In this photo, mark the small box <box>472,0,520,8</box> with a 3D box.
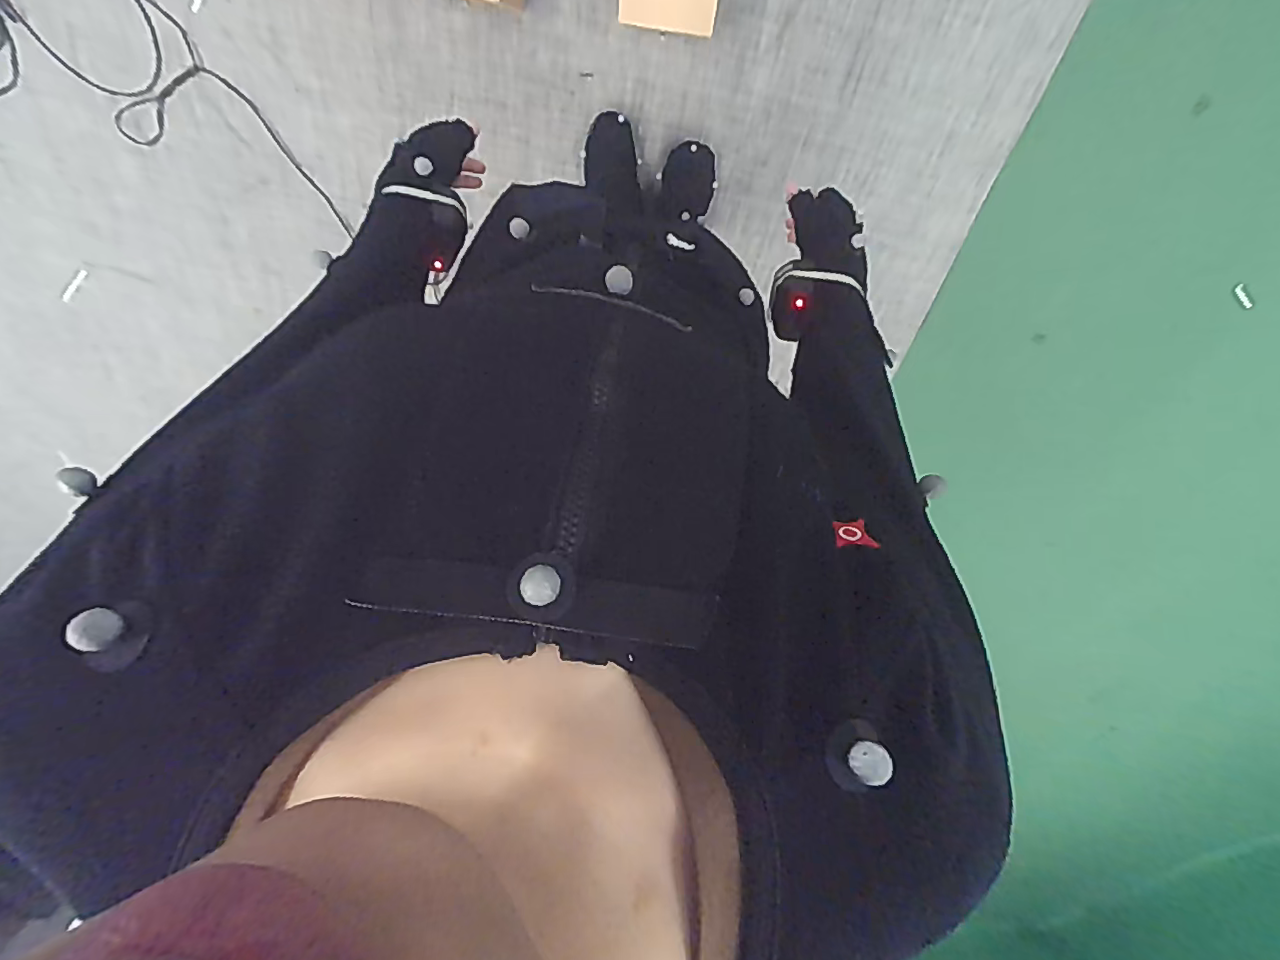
[{"bbox_3d":[-0.303,-0.948,0.931,0.168,0.176,0.179,9,128,-2],"label":"small box"}]

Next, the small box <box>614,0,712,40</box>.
[{"bbox_3d":[0.052,-0.892,0.944,0.168,0.176,0.179,7,128,-2],"label":"small box"}]
